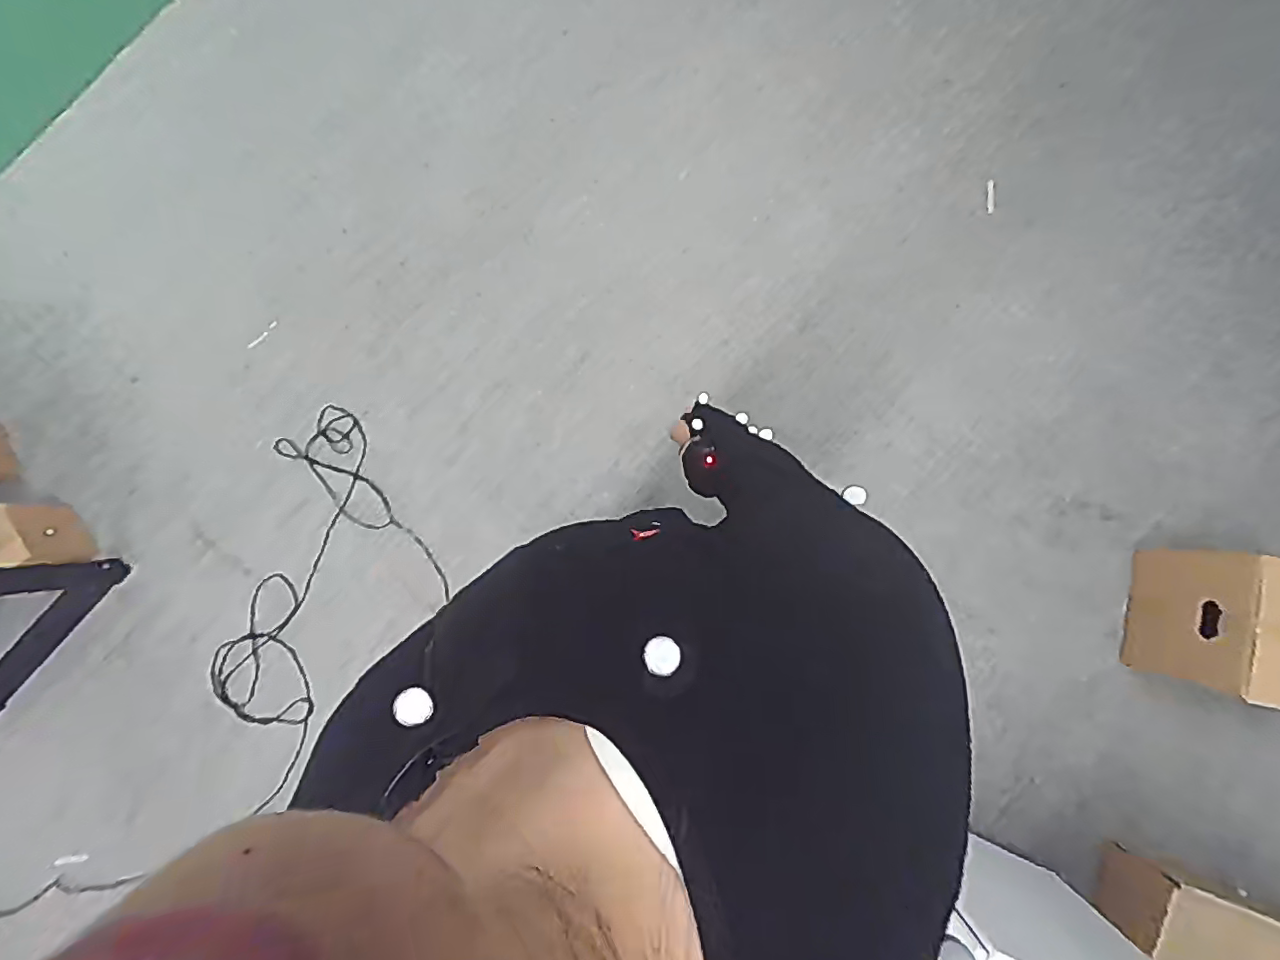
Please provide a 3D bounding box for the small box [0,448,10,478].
[{"bbox_3d":[-1.935,-0.069,1.493,0.168,0.176,0.179,-27,87,0],"label":"small box"}]

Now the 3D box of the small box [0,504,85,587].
[{"bbox_3d":[-1.690,0.176,1.467,0.168,0.176,0.179,-35,86,-1],"label":"small box"}]
